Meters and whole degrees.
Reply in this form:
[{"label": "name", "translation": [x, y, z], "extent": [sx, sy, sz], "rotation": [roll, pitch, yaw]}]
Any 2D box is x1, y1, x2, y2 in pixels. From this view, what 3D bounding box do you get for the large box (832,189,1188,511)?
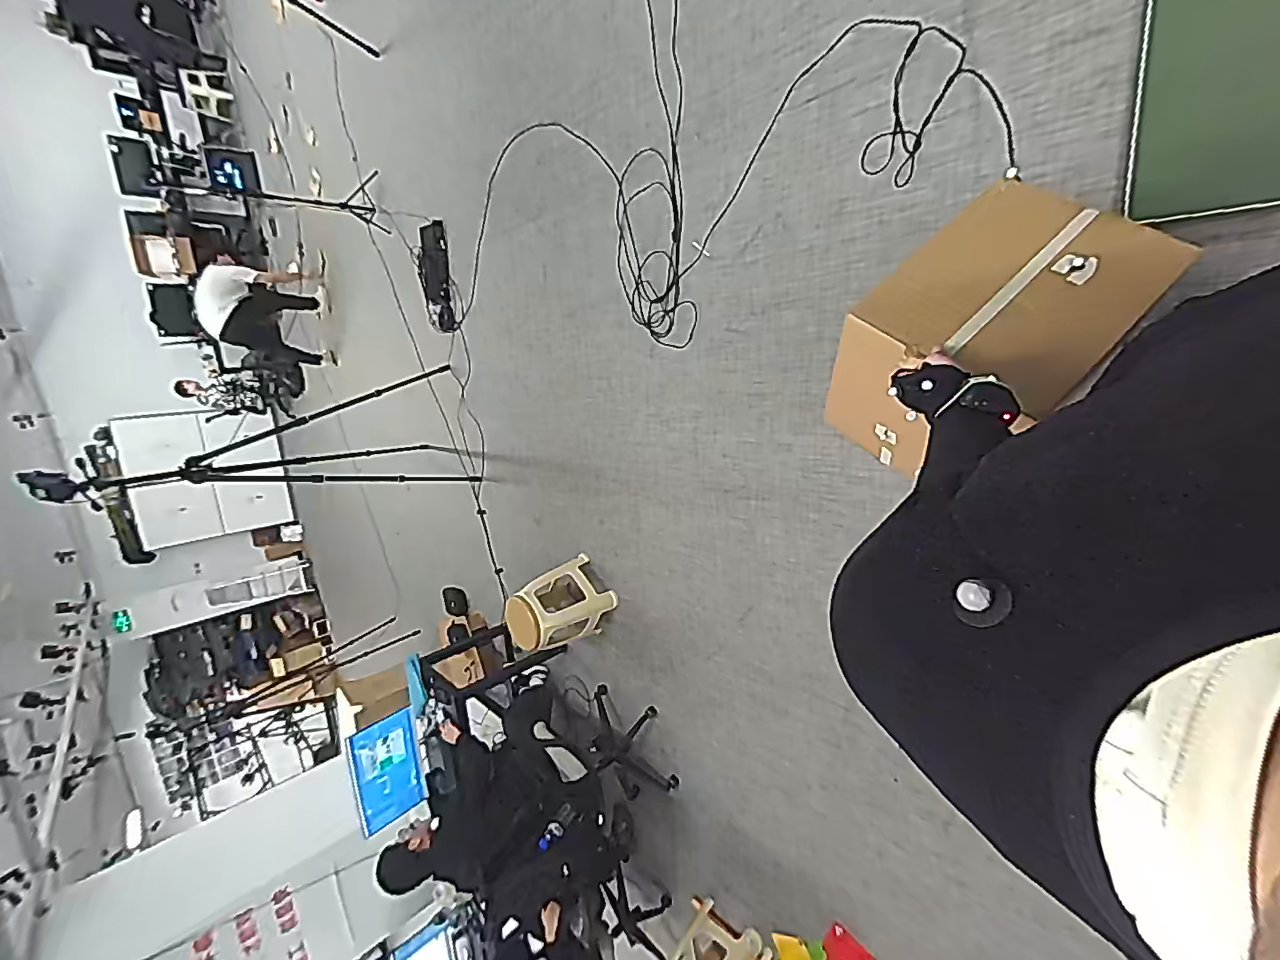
[{"label": "large box", "translation": [0.609, -0.224, 0.968], "extent": [0.320, 0.408, 0.320], "rotation": [43, 167, 26]}]
